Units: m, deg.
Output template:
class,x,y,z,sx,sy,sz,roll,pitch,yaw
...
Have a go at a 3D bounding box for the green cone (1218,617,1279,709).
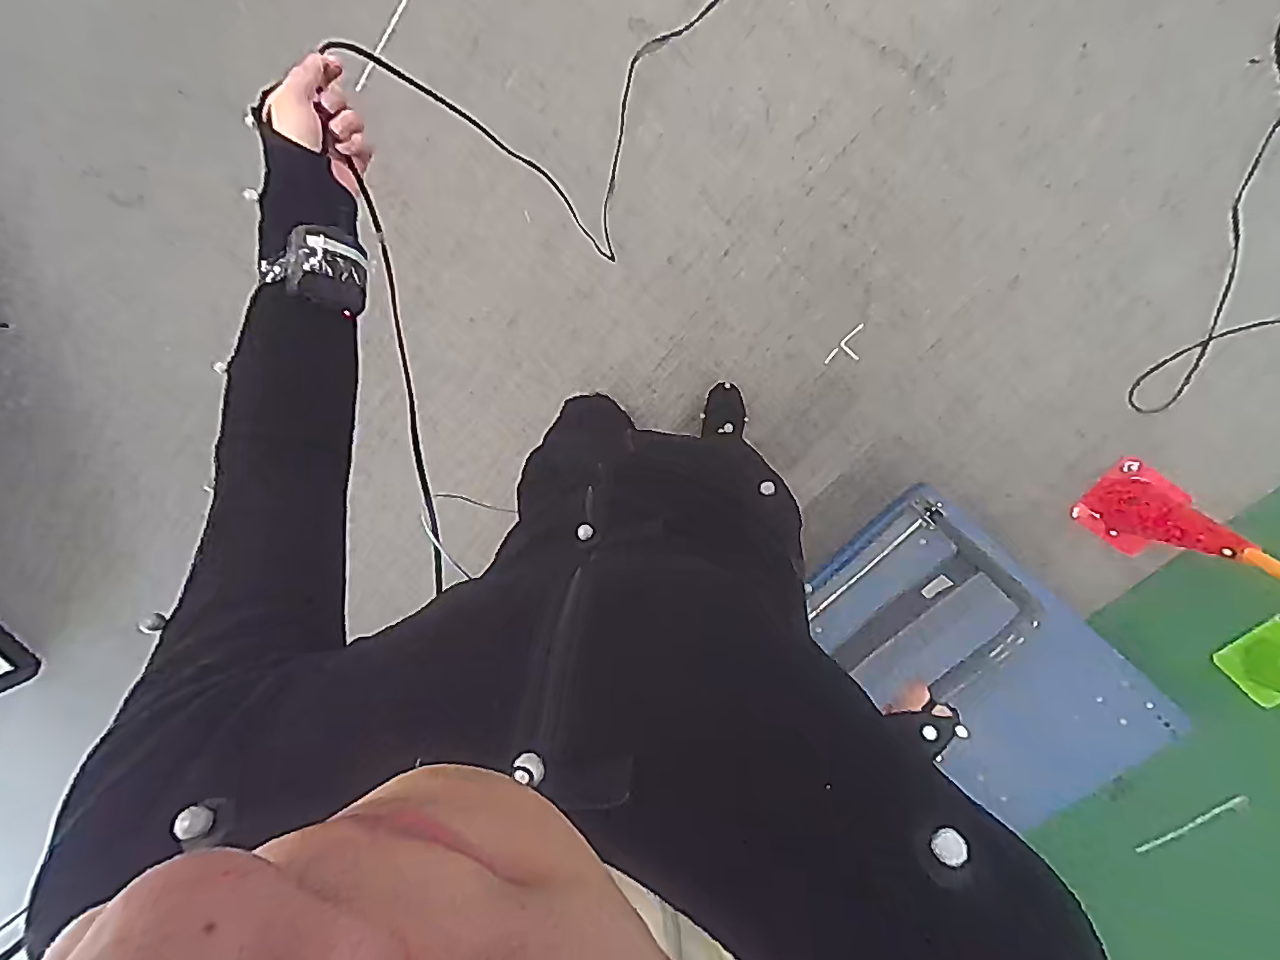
class,x,y,z,sx,sy,sz,roll,pitch,yaw
green cone,1.585,0.499,1.204,0.202,0.368,0.200,43,106,-1
